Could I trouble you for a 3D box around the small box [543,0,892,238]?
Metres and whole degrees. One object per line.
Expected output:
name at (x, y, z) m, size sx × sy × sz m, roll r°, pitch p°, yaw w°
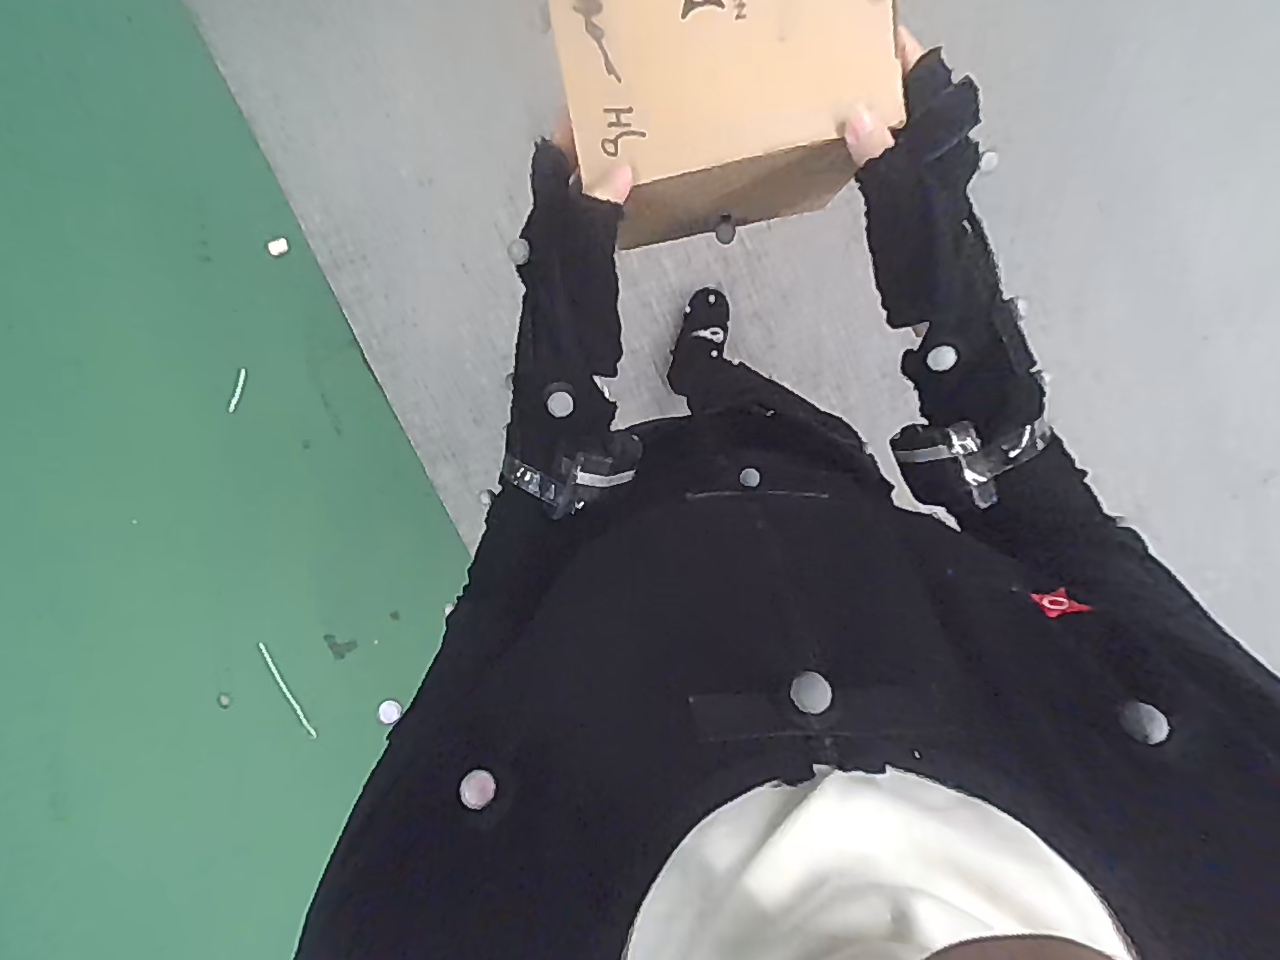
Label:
small box at (0.040, -0.274, 0.353) m, size 0.179 × 0.176 × 0.168 m, roll -8°, pitch 101°, yaw 6°
